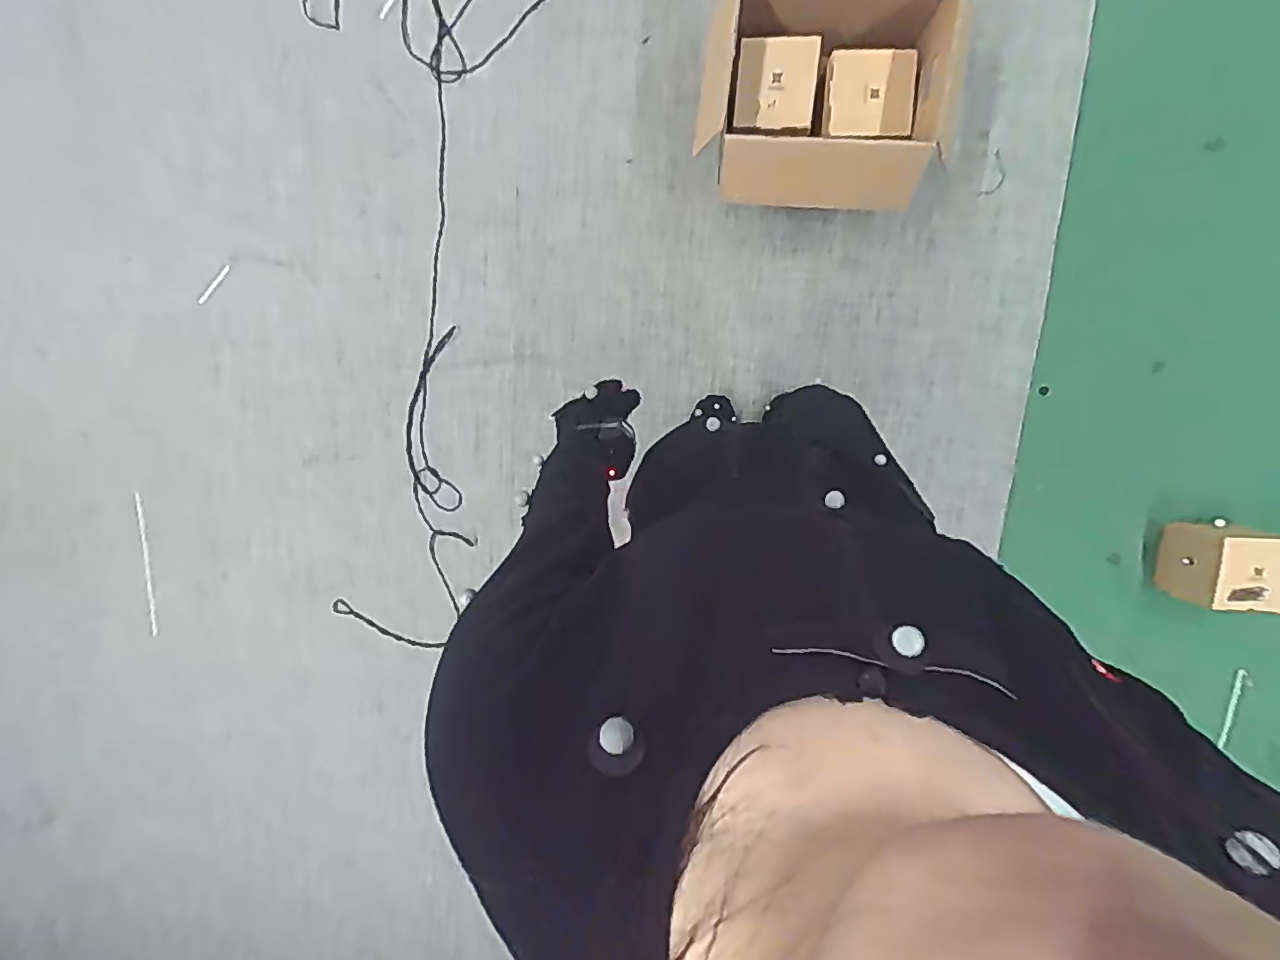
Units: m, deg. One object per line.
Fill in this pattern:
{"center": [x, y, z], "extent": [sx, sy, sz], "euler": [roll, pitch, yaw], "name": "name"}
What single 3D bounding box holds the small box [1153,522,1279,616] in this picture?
{"center": [1.399, 0.209, 1.303], "extent": [0.168, 0.176, 0.179], "euler": [2, 98, 5], "name": "small box"}
